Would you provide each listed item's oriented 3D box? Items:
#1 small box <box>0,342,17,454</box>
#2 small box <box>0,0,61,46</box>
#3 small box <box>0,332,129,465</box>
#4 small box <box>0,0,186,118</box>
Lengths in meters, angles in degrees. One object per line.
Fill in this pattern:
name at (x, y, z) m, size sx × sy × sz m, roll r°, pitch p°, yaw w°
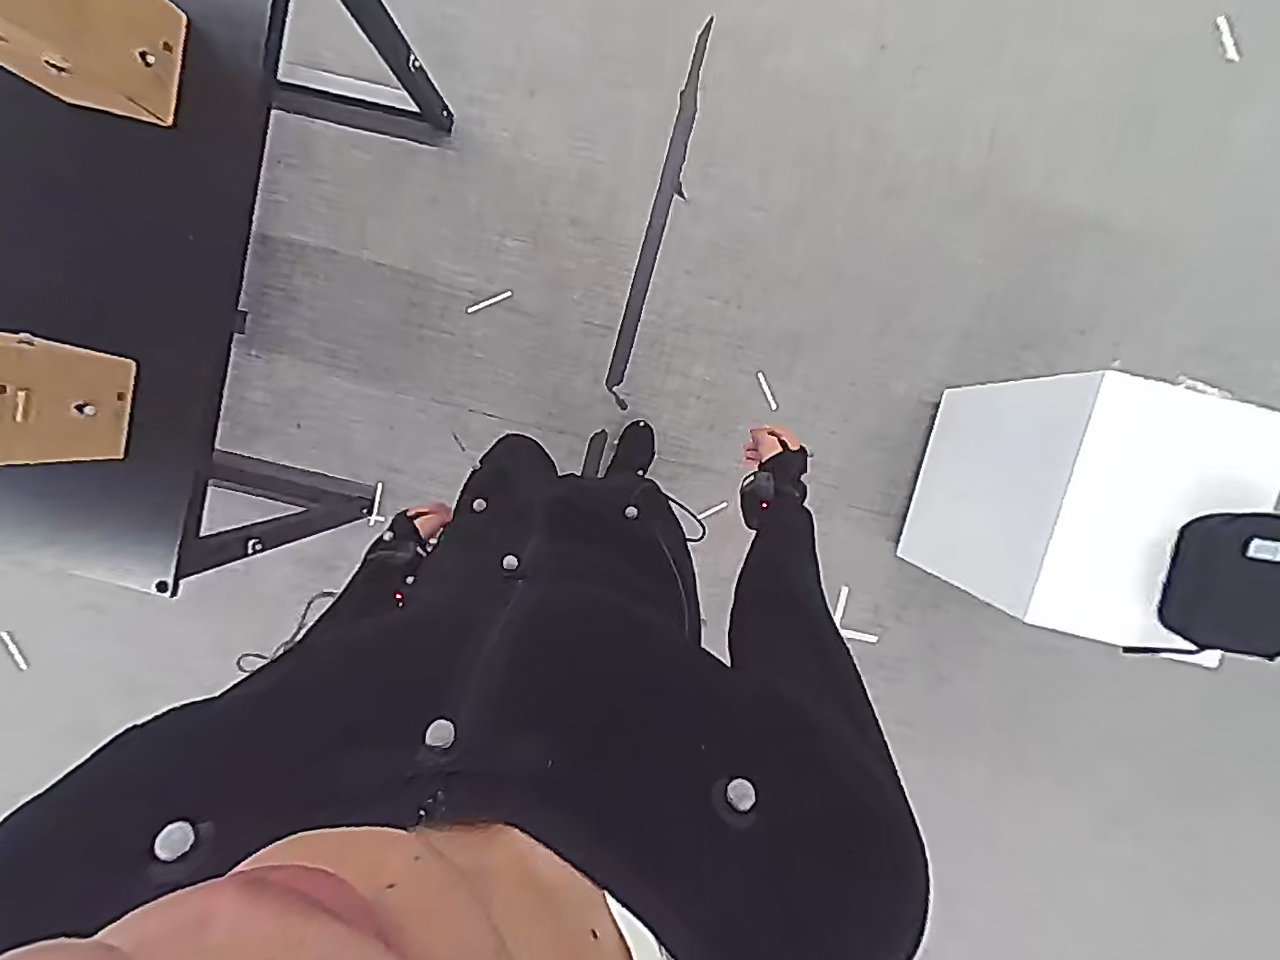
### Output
small box at (-0.927, -0.112, 0.641) m, size 0.179 × 0.176 × 0.168 m, roll 13°, pitch 96°, yaw -1°
small box at (-0.793, -0.629, 0.591) m, size 0.168 × 0.176 × 0.179 m, roll 10°, pitch 95°, yaw -1°
small box at (-0.925, -0.127, 0.805) m, size 0.179 × 0.176 × 0.168 m, roll 13°, pitch 95°, yaw -1°
small box at (-0.798, -0.646, 0.754) m, size 0.179 × 0.176 × 0.168 m, roll 13°, pitch 96°, yaw -1°
